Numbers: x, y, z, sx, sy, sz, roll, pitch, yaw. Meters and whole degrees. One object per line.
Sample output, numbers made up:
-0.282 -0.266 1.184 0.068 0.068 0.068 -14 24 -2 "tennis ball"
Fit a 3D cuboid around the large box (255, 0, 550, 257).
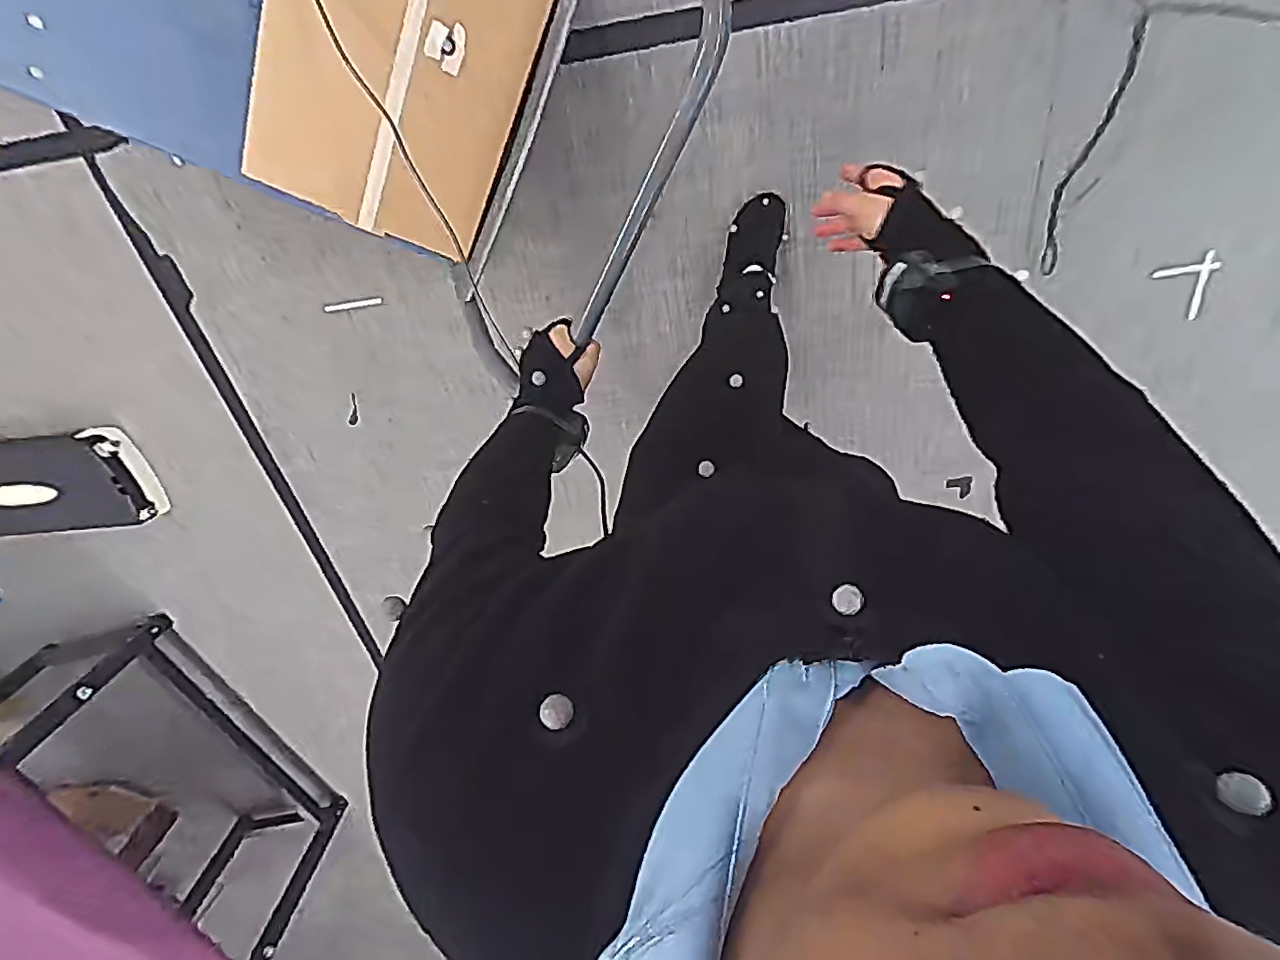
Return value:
-0.375 -0.640 0.857 0.320 0.320 0.408 12 121 -31 "large box"
